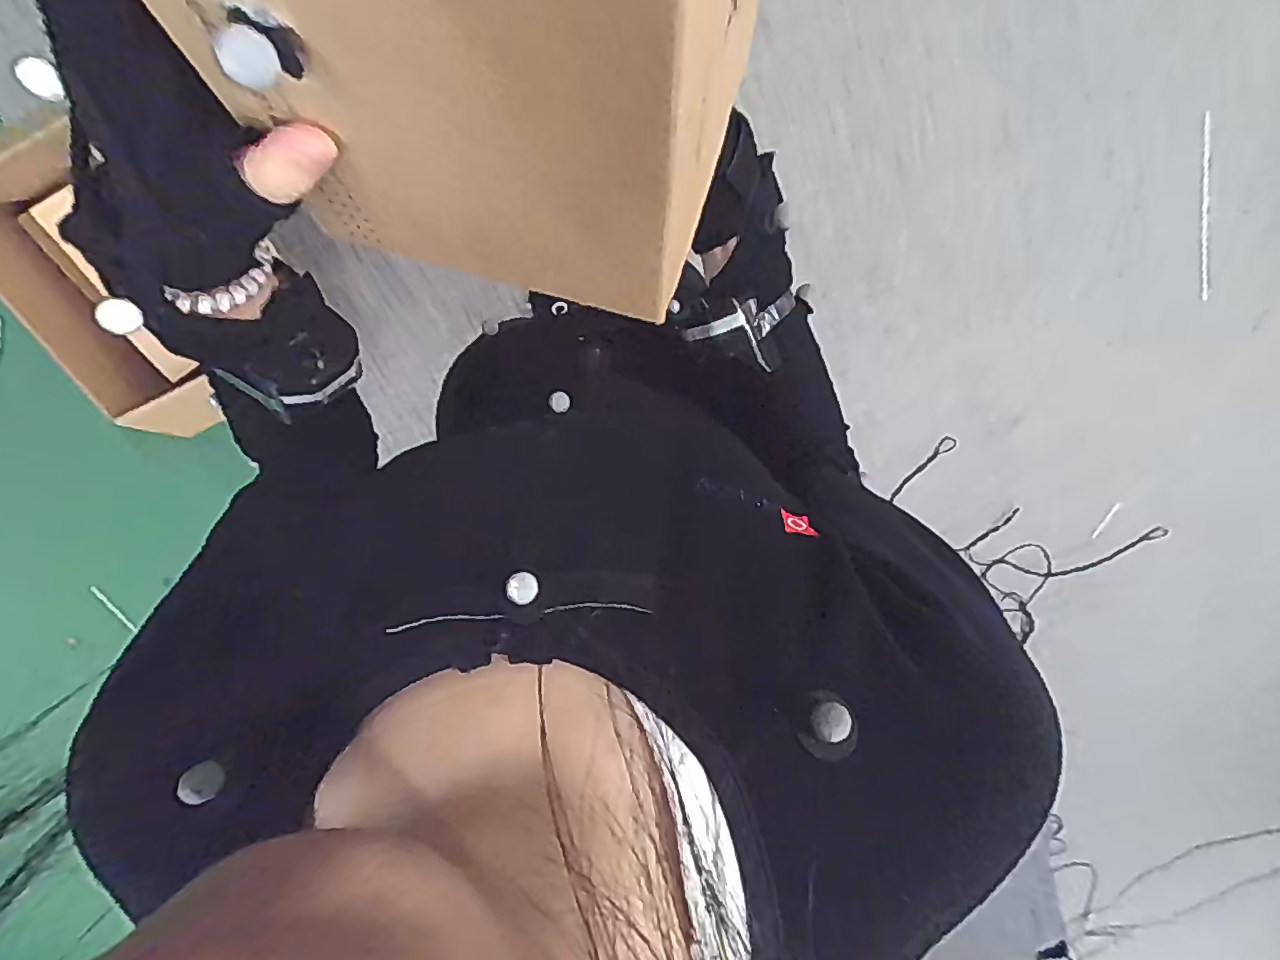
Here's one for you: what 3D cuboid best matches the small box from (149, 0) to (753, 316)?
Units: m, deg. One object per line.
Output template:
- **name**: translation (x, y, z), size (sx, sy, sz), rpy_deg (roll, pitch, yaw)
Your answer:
- **small box**: translation (-0.046, -0.196, 0.199), size (0.176, 0.168, 0.179), rpy_deg (15, 75, 5)
